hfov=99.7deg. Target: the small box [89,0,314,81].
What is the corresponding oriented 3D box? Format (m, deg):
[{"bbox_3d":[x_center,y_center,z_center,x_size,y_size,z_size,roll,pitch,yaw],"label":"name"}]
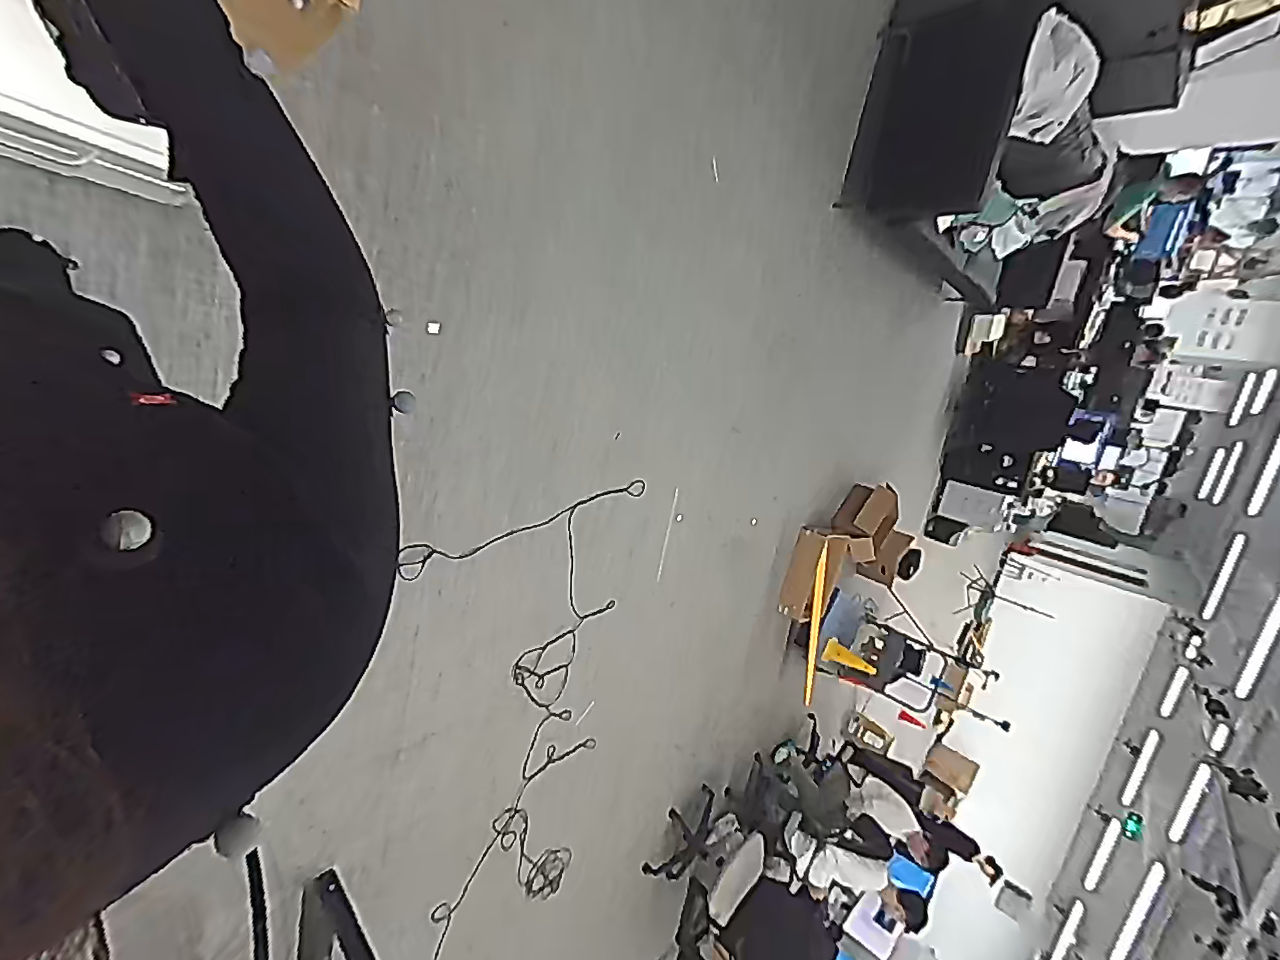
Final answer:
[{"bbox_3d":[-0.457,-0.556,0.563,0.179,0.176,0.168,5,102,-47],"label":"small box"}]
